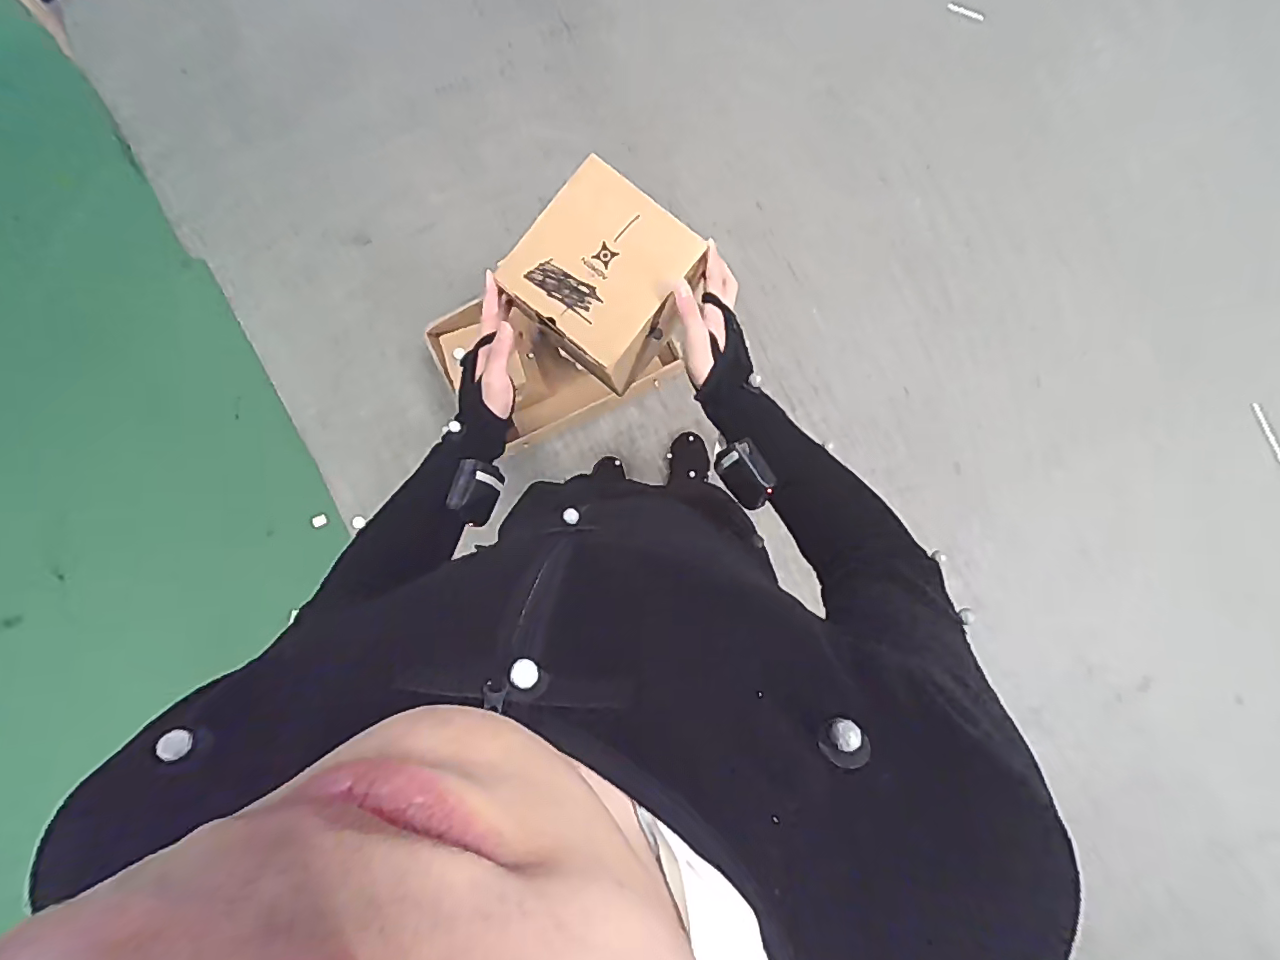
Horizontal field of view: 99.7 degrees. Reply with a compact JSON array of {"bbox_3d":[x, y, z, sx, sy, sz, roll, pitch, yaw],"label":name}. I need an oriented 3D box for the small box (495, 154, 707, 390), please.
[{"bbox_3d":[-0.038,-0.233,0.658,0.168,0.176,0.179,40,90,3],"label":"small box"}]
